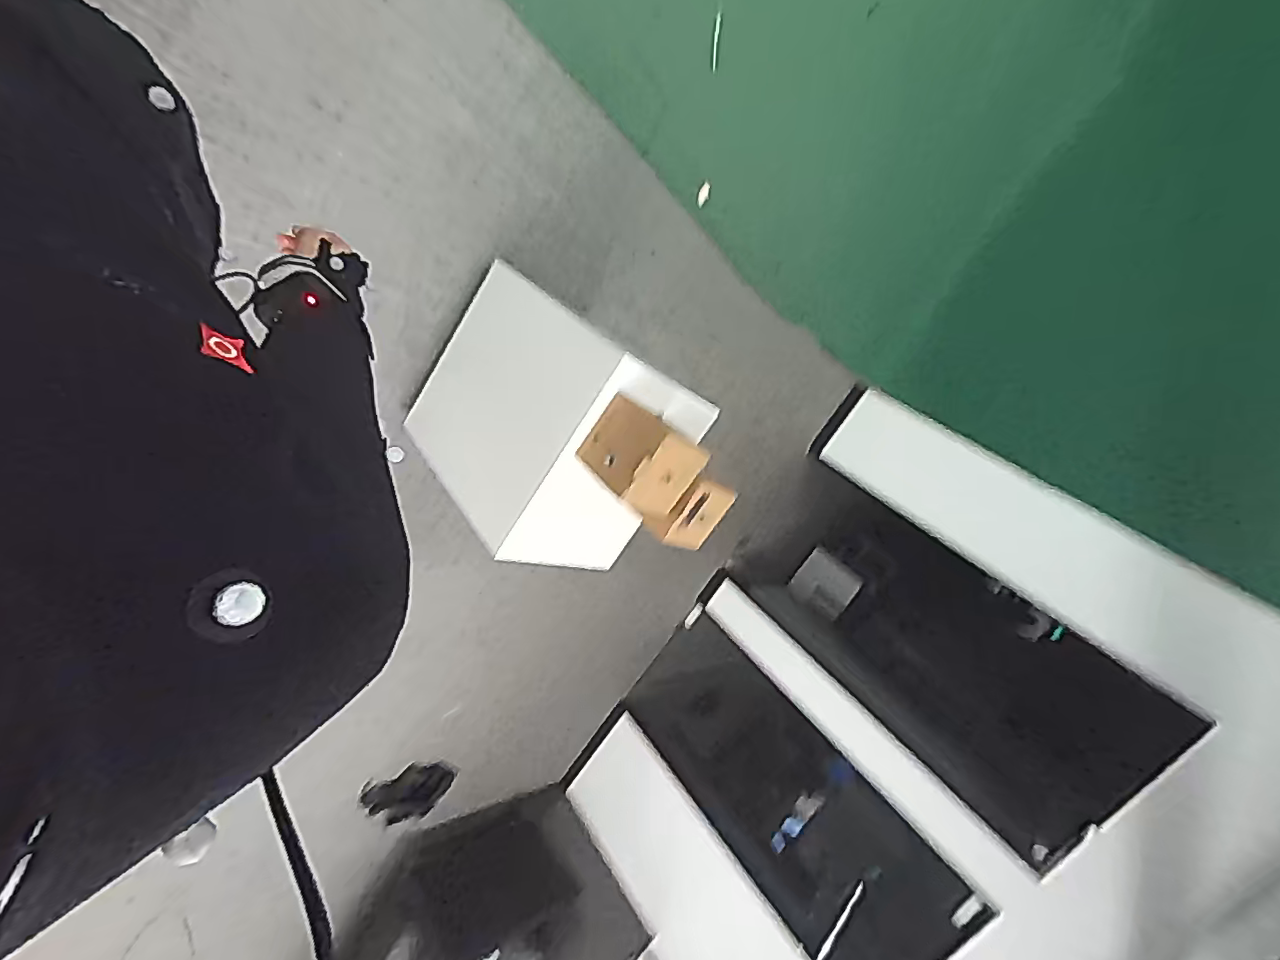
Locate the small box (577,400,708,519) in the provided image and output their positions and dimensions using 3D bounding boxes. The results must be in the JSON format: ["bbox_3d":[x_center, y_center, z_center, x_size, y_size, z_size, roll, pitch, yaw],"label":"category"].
[{"bbox_3d":[0.002,-0.043,1.120,0.168,0.176,0.179,-54,147,12],"label":"small box"}]
